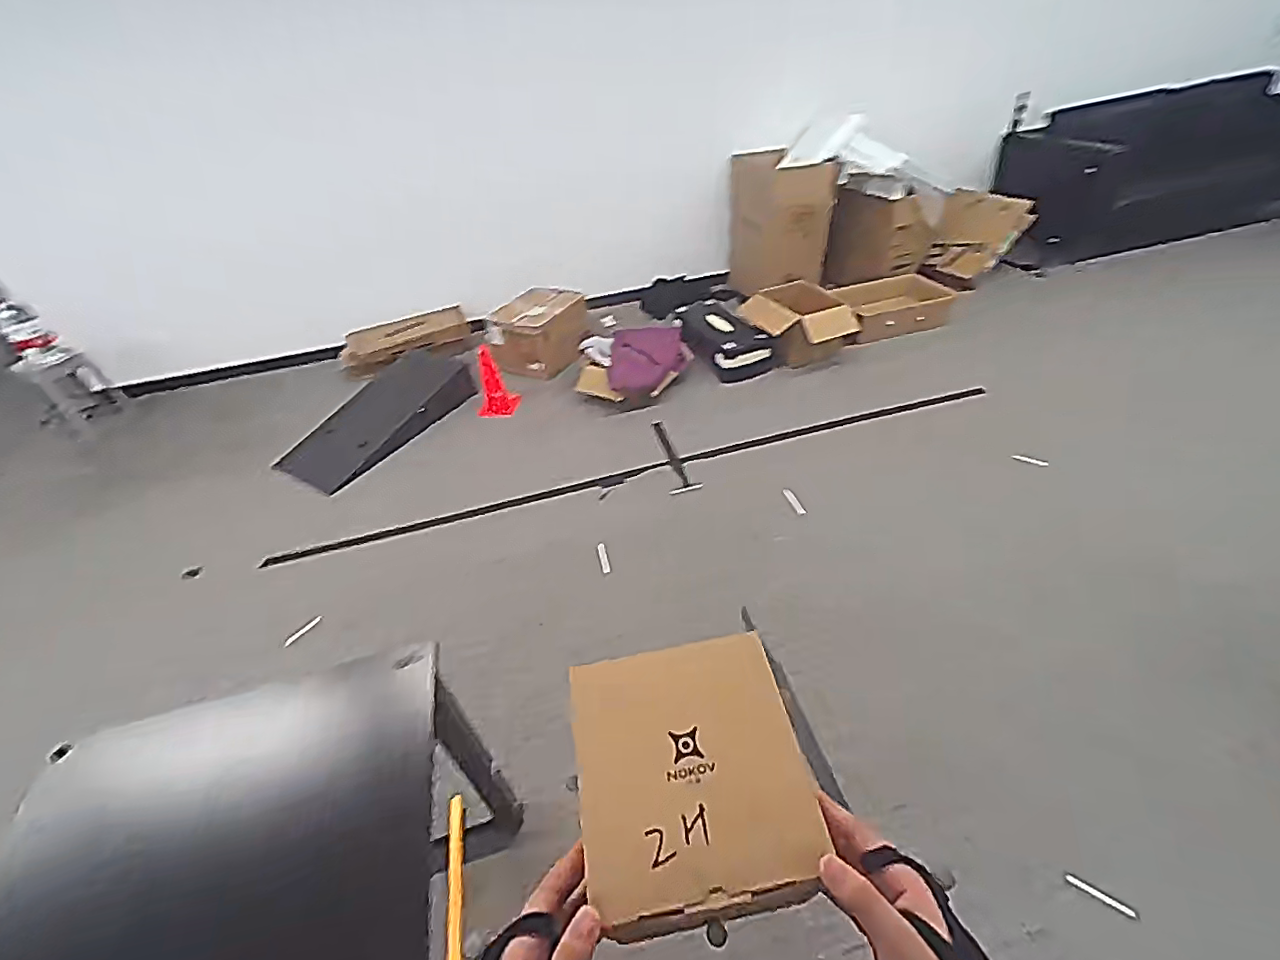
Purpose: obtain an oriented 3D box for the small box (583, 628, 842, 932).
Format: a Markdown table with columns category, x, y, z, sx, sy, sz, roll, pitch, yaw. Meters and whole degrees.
| category | x | y | z | sx | sy | sz | roll | pitch | yaw |
| --- | --- | --- | --- | --- | --- | --- | --- | --- | --- |
| small box | 0.049 | 0.257 | 0.466 | 0.168 | 0.176 | 0.179 | -10 | 46 | -2 |
